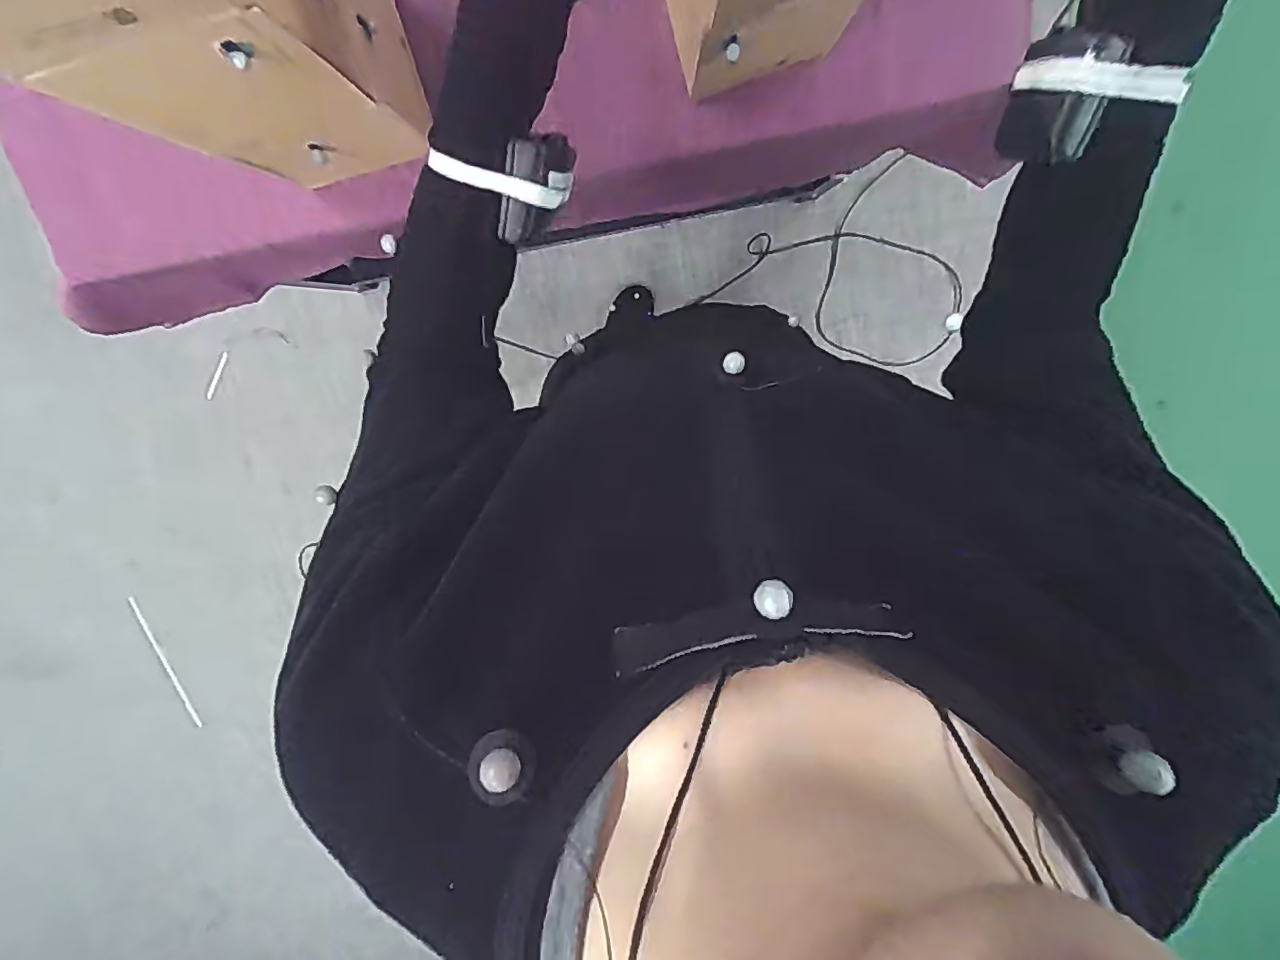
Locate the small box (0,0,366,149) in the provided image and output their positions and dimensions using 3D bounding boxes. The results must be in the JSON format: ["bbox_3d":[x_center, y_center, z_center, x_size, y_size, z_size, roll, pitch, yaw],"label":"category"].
[{"bbox_3d":[-0.346,-0.374,0.399,0.179,0.176,0.168,-13,105,3],"label":"small box"}]

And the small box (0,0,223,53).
[{"bbox_3d":[-0.344,-0.333,0.242,0.168,0.176,0.179,-11,105,2],"label":"small box"}]

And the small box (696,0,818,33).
[{"bbox_3d":[0.108,-0.467,0.369,0.168,0.176,0.179,-16,105,5],"label":"small box"}]

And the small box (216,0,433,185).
[{"bbox_3d":[-0.345,-0.425,0.554,0.179,0.176,0.168,-13,106,3],"label":"small box"}]
